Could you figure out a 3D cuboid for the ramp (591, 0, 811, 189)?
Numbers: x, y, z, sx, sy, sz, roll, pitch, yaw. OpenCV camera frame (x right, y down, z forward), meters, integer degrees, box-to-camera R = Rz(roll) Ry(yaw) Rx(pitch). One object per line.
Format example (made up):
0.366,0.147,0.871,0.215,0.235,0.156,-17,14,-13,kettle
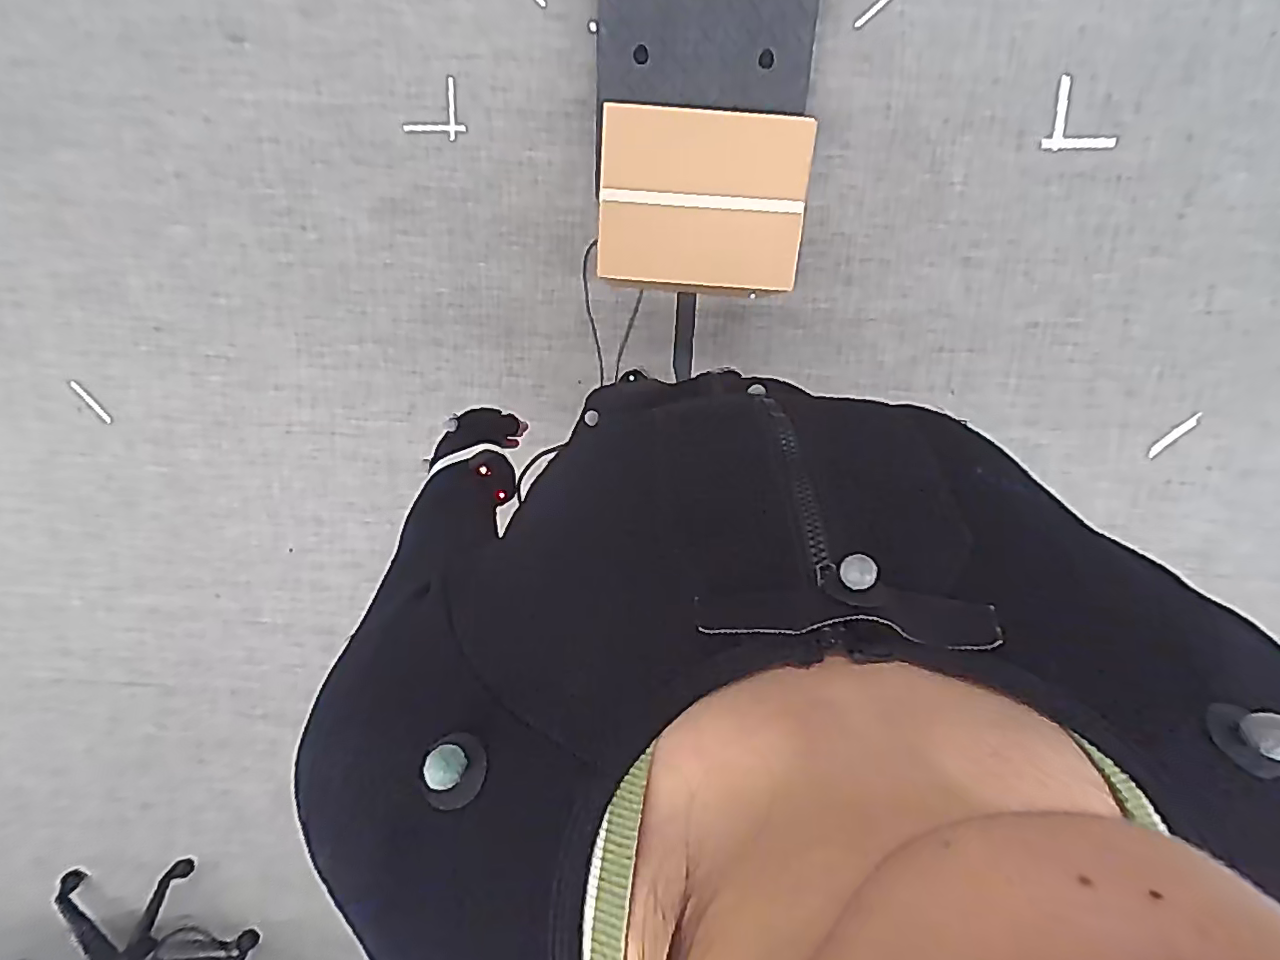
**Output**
0.141,-1.172,1.154,0.509,0.206,0.991,1,103,-1,ramp

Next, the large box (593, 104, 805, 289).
0.113,-0.601,1.210,0.408,0.320,0.320,4,106,-1,large box
